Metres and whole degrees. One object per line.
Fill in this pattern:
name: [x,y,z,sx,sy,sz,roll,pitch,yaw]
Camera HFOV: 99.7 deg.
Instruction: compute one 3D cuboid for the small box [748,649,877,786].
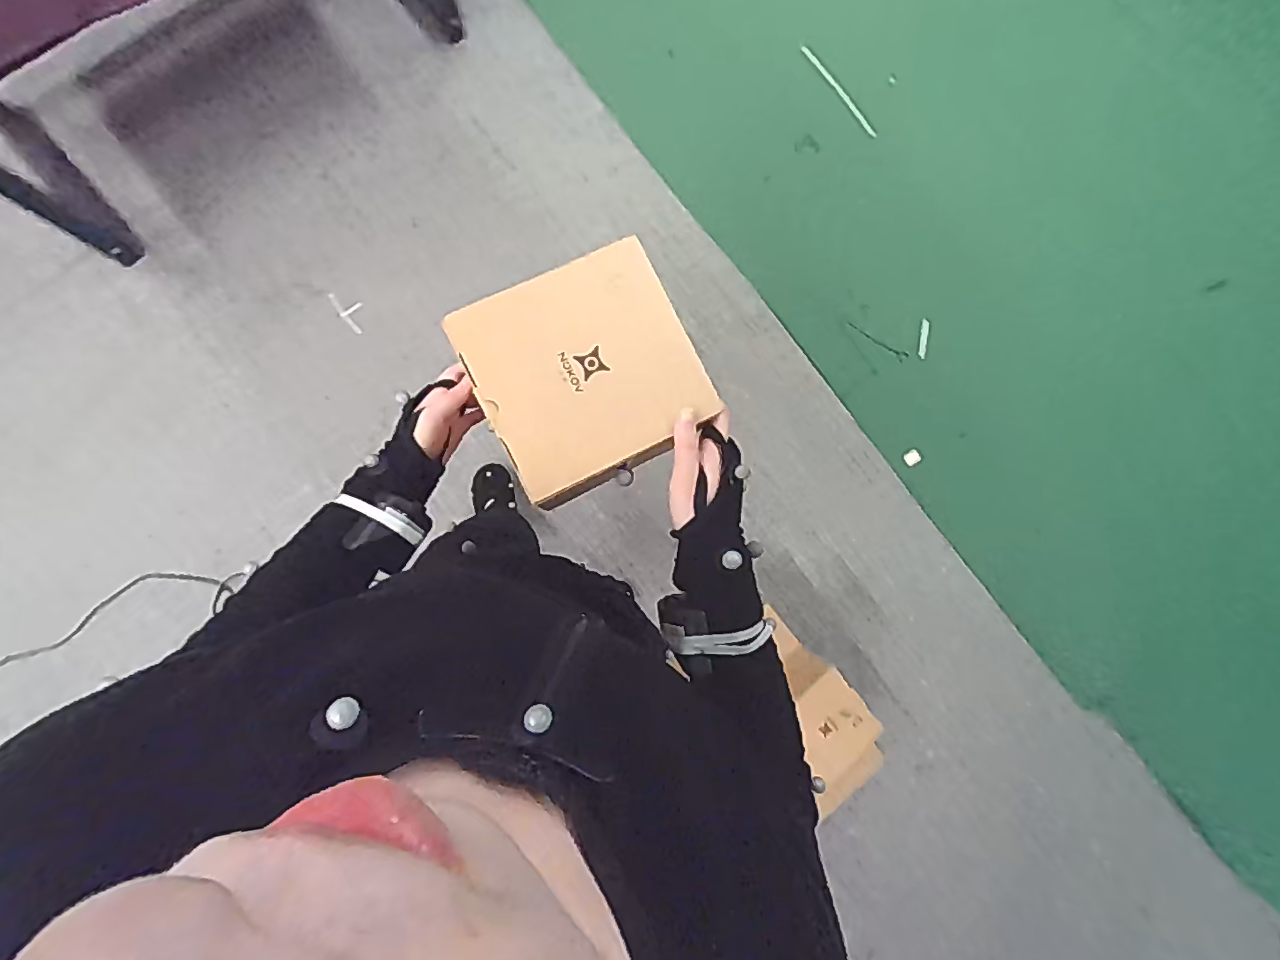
small box: [0.348,0.489,1.139,0.179,0.176,0.168,-38,91,-8]
